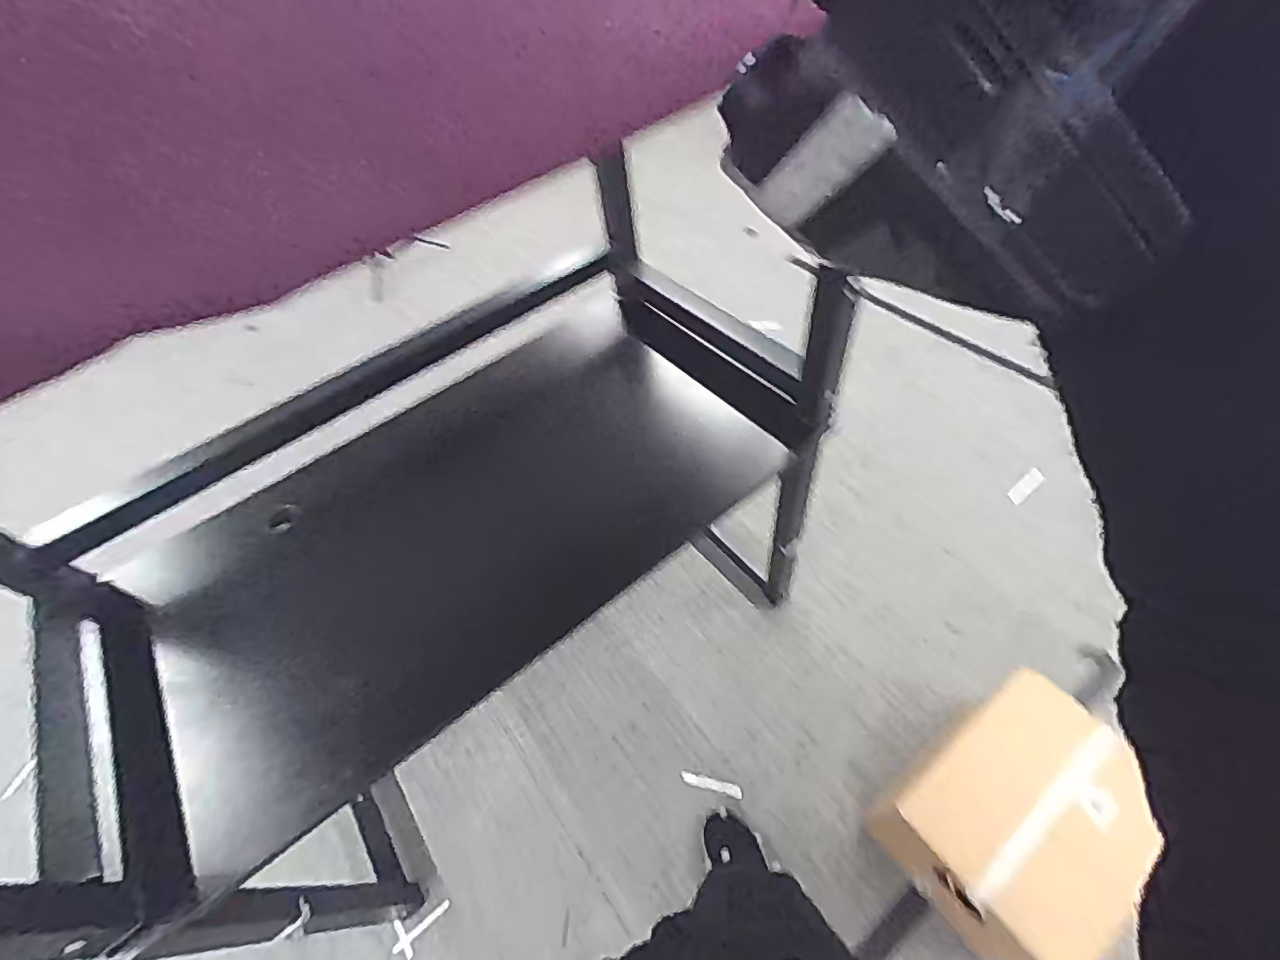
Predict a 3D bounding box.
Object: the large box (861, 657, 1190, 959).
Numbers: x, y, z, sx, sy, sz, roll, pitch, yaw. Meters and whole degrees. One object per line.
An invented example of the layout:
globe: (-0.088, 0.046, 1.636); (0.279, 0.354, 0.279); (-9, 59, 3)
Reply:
large box: (0.709, 0.638, 1.058); (0.408, 0.320, 0.320); (-35, 58, -17)
